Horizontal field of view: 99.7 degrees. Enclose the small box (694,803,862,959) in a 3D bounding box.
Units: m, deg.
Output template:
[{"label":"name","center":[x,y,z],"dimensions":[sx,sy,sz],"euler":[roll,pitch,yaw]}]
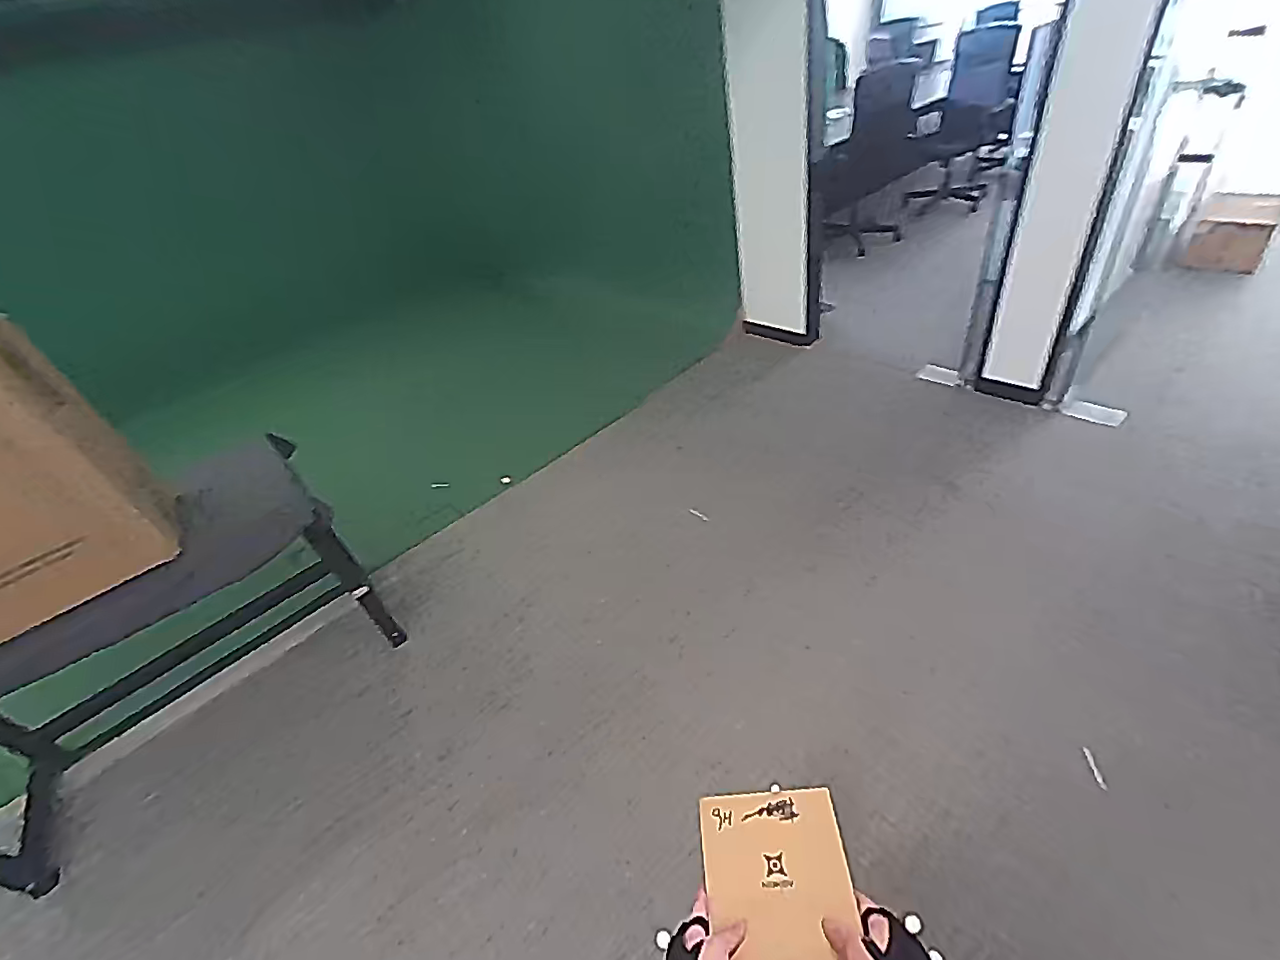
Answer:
[{"label":"small box","center":[0.170,0.540,0.679],"dimensions":[0.168,0.176,0.179],"euler":[-11,39,5]}]
